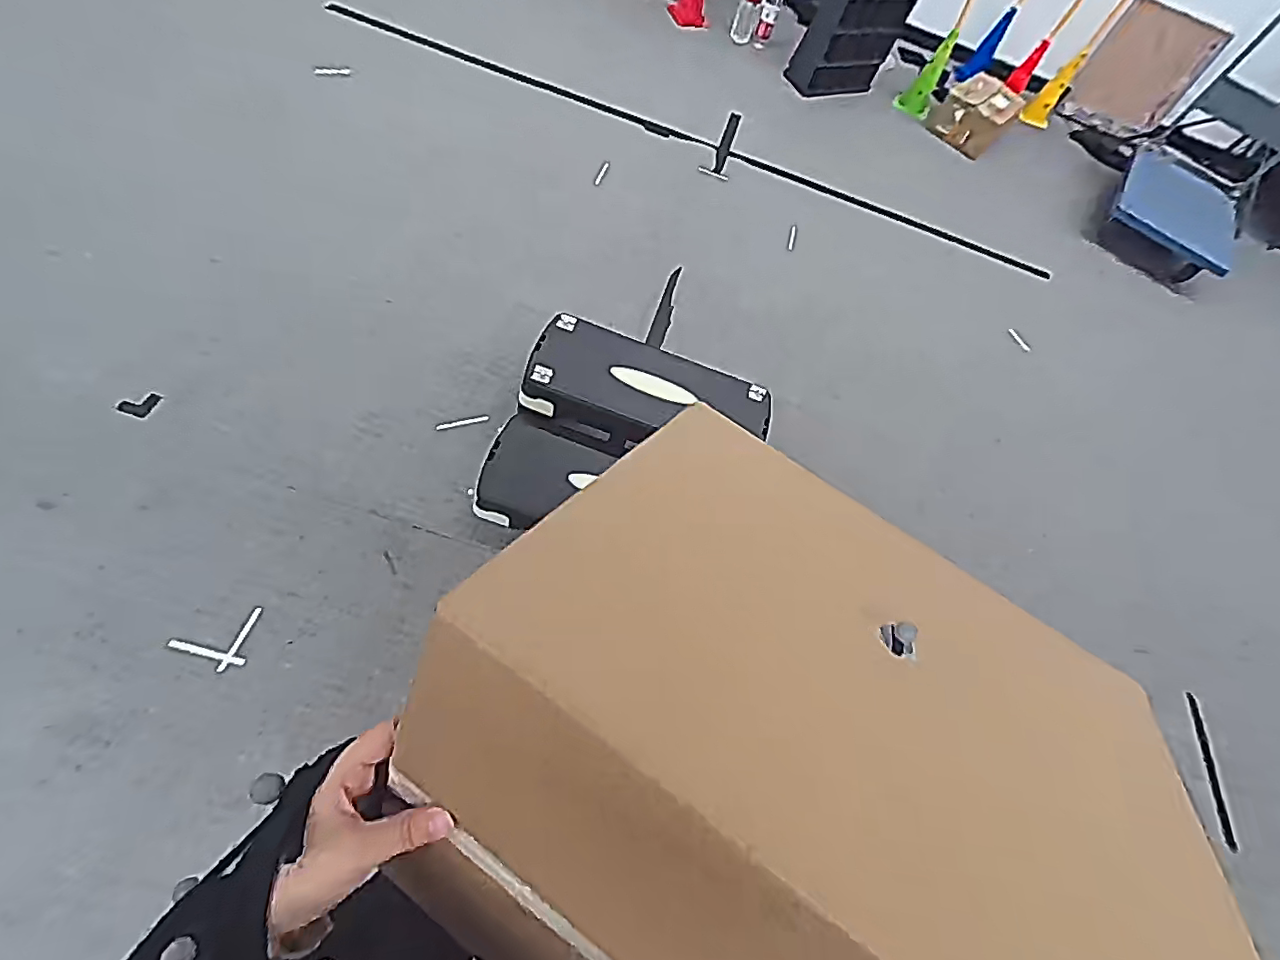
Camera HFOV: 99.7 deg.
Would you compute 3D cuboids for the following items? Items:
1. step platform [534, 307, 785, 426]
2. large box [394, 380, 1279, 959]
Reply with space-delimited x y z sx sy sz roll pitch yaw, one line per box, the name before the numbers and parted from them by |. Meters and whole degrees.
step platform | 0.055 -0.215 1.517 0.684 0.204 0.286 25 60 -1
large box | 0.102 0.182 0.394 0.408 0.320 0.320 33 36 10
